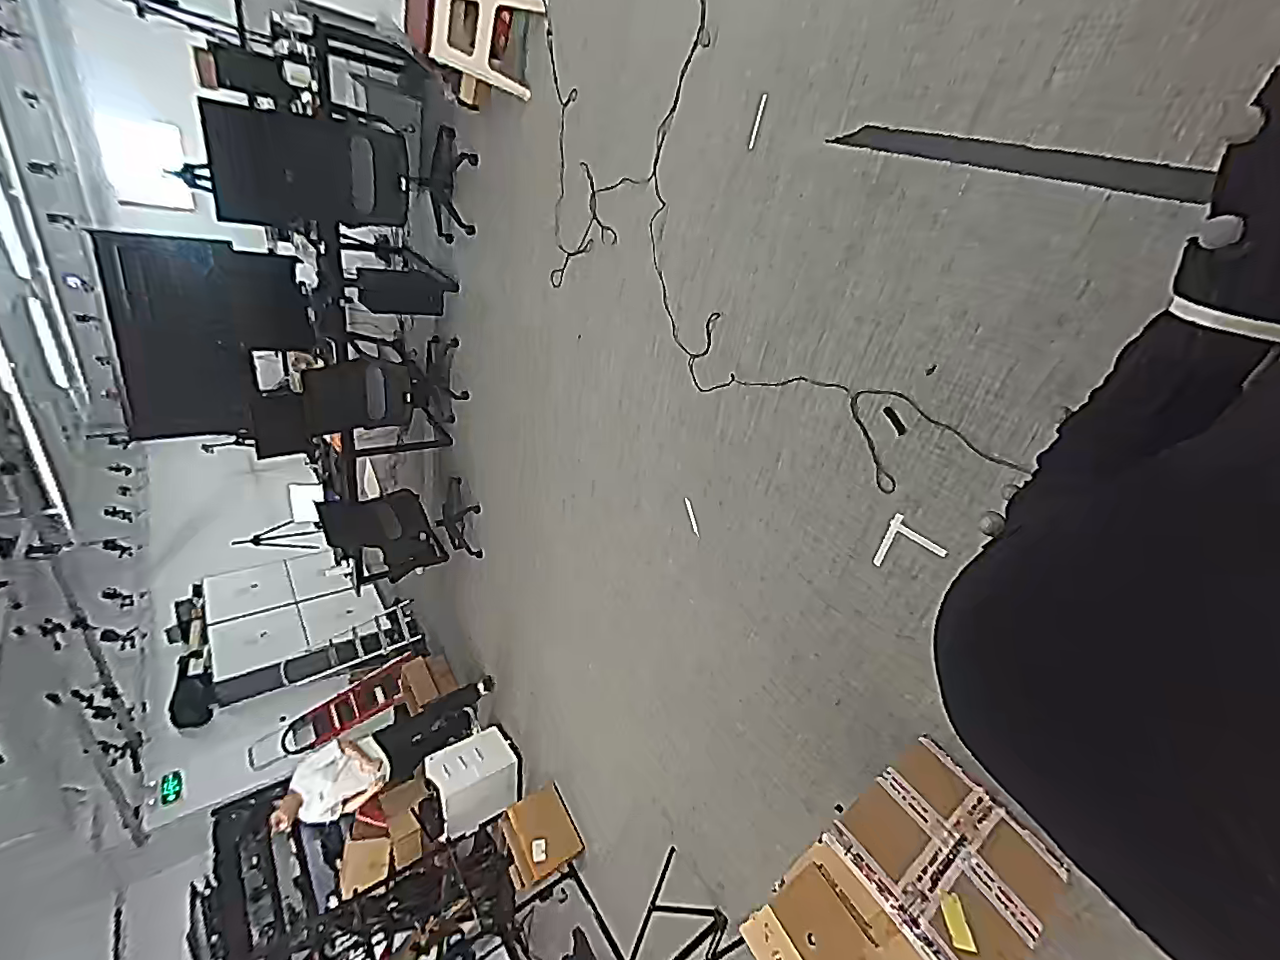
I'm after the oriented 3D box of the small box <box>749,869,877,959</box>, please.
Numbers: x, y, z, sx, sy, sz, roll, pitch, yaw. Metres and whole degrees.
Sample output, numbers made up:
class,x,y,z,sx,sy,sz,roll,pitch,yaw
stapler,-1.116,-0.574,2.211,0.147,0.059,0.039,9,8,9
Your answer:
class,x,y,z,sx,sy,sz,roll,pitch,yaw
small box,0.384,1.020,1.198,0.179,0.176,0.168,49,133,36
